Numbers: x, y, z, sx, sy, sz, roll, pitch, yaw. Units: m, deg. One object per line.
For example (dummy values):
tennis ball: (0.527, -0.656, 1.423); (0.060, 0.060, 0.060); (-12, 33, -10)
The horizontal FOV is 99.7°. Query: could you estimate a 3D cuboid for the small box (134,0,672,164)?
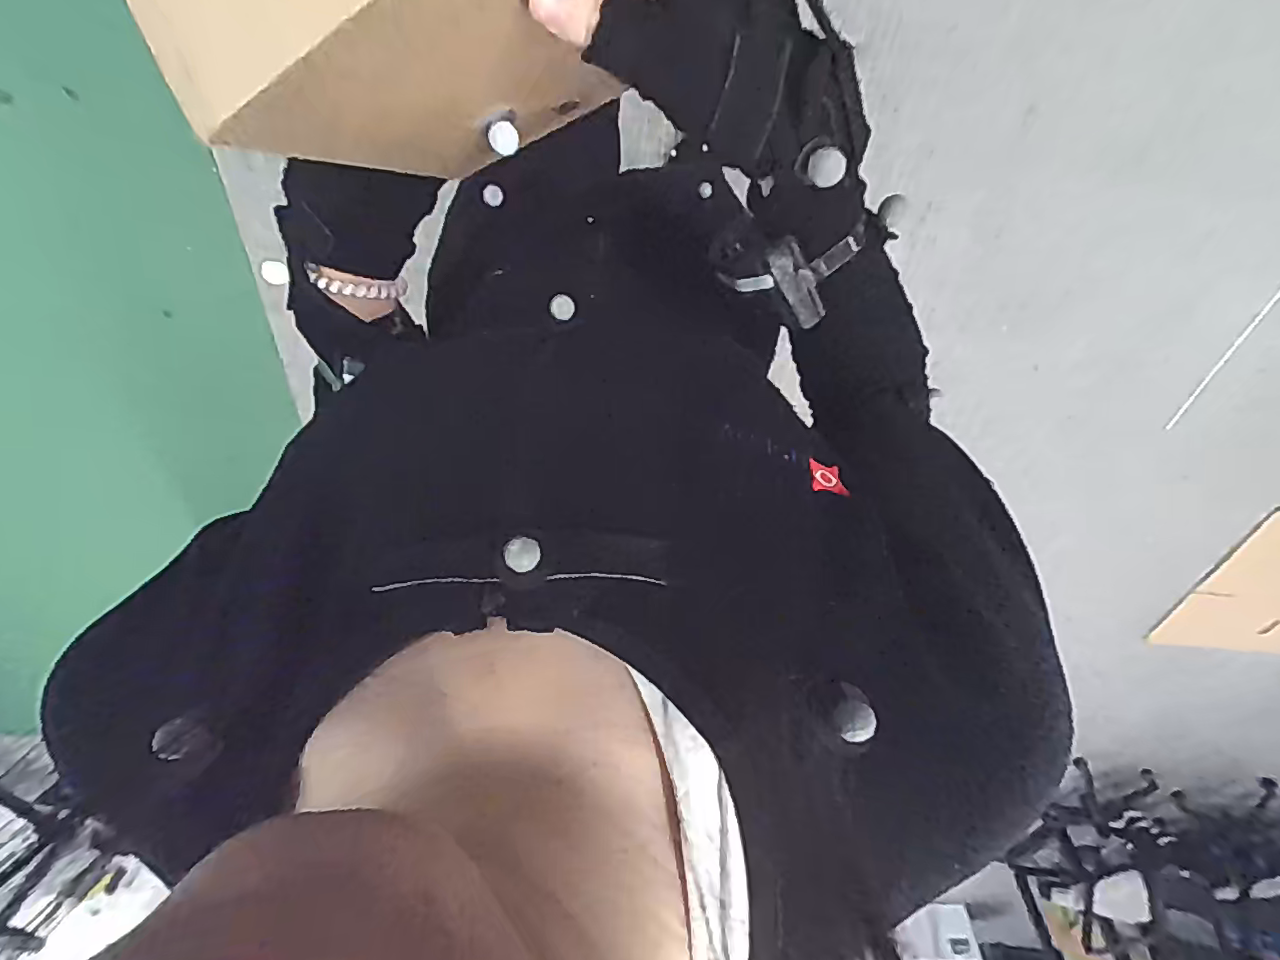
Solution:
small box: (-0.103, -0.265, 0.231); (0.168, 0.176, 0.179); (-8, 109, 27)
